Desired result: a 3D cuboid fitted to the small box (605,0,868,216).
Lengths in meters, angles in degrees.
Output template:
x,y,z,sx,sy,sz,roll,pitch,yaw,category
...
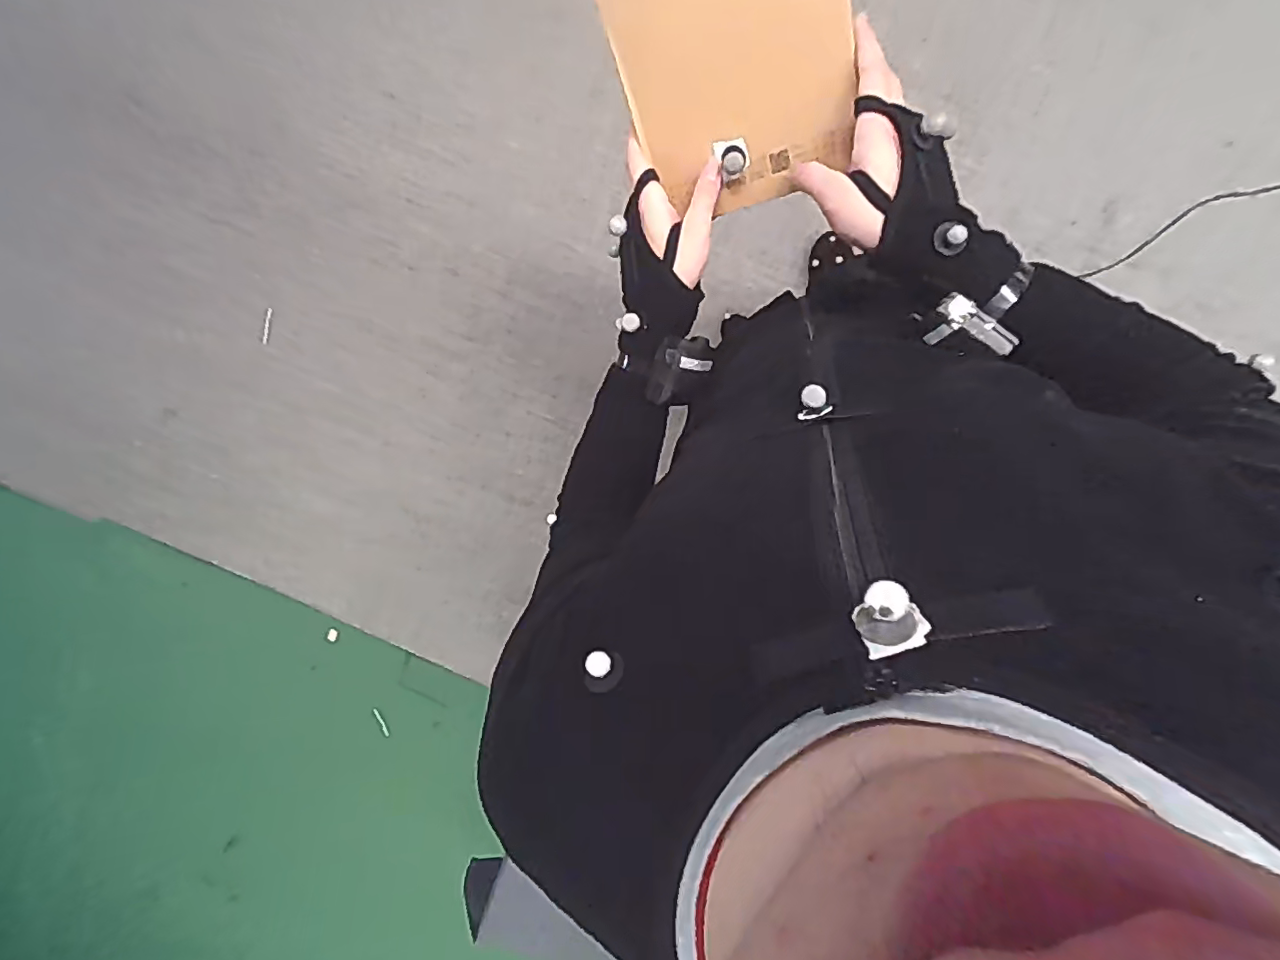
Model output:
x,y,z,sx,sy,sz,roll,pitch,yaw,category
0.092,-0.346,0.456,0.168,0.179,0.176,-8,126,24,small box
